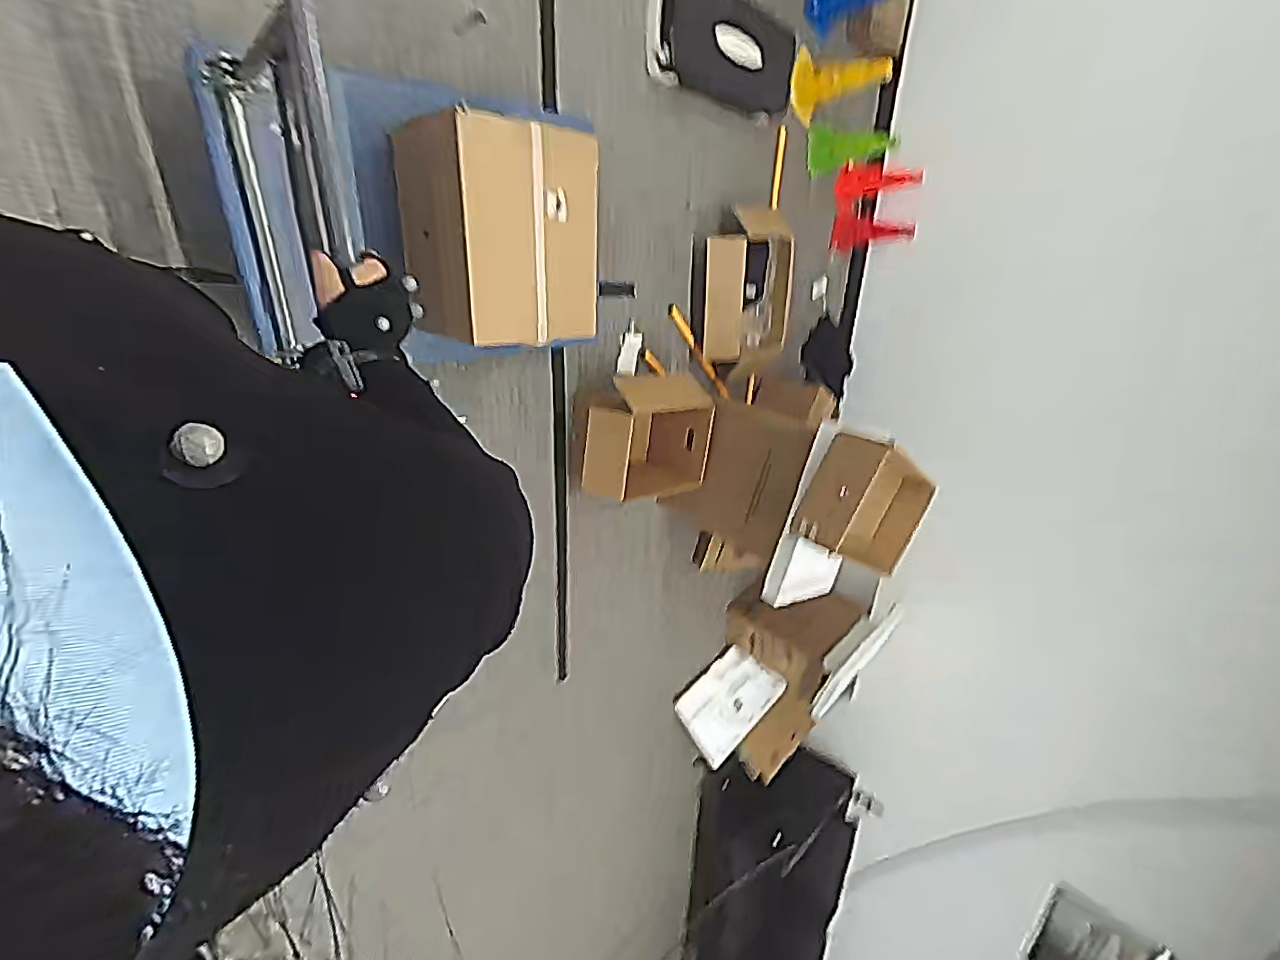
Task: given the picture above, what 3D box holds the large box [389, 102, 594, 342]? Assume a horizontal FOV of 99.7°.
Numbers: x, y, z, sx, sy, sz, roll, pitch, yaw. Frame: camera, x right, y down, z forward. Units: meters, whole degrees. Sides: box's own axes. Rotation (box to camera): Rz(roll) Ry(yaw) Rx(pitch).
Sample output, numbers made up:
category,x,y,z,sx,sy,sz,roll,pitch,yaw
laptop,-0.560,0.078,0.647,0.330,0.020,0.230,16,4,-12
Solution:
category,x,y,z,sx,sy,sz,roll,pitch,yaw
large box,-0.315,-0.531,1.180,0.320,0.320,0.408,-18,119,-41
